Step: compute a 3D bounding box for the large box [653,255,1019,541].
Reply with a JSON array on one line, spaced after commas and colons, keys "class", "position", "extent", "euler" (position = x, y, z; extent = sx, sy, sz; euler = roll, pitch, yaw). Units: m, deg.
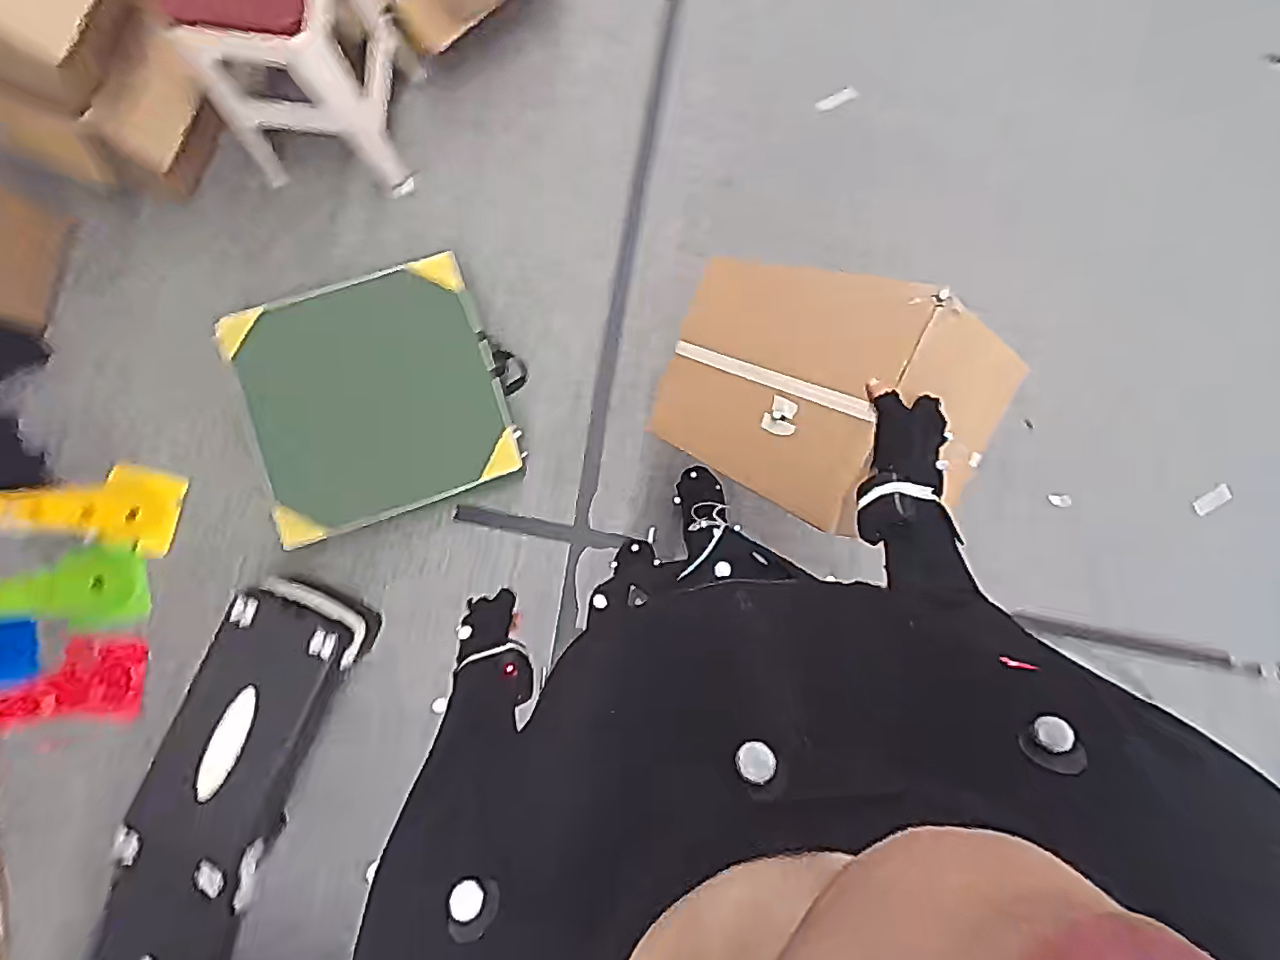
[{"class": "large box", "position": [0.298, -0.135, 0.887], "extent": [0.320, 0.408, 0.320], "euler": [10, 109, -41]}]
